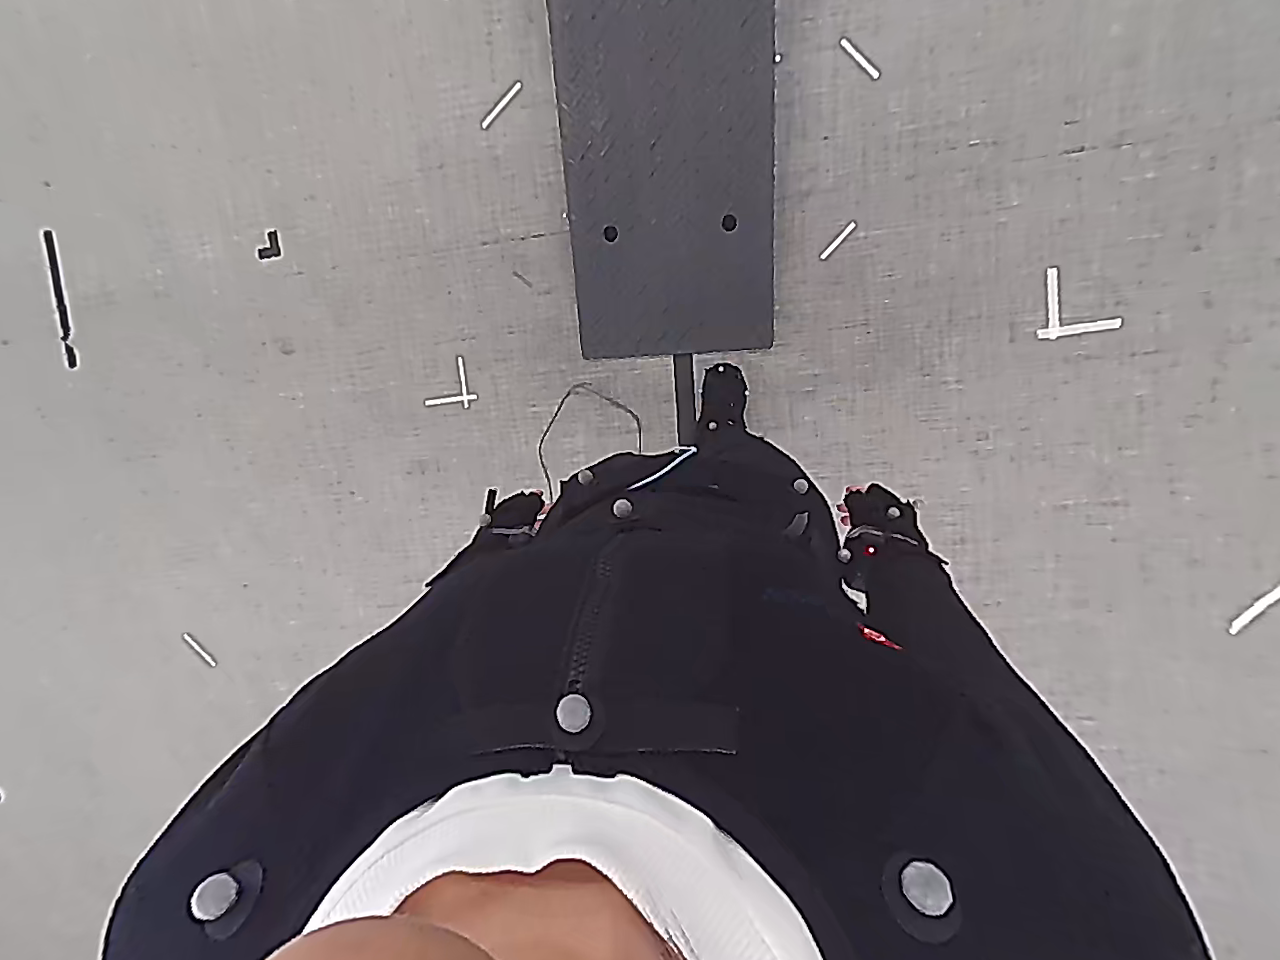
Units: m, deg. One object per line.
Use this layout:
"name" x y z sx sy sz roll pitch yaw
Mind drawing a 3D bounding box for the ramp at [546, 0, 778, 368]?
"ramp" 0.063 -0.784 1.257 0.509 0.206 0.991 -5 97 8
